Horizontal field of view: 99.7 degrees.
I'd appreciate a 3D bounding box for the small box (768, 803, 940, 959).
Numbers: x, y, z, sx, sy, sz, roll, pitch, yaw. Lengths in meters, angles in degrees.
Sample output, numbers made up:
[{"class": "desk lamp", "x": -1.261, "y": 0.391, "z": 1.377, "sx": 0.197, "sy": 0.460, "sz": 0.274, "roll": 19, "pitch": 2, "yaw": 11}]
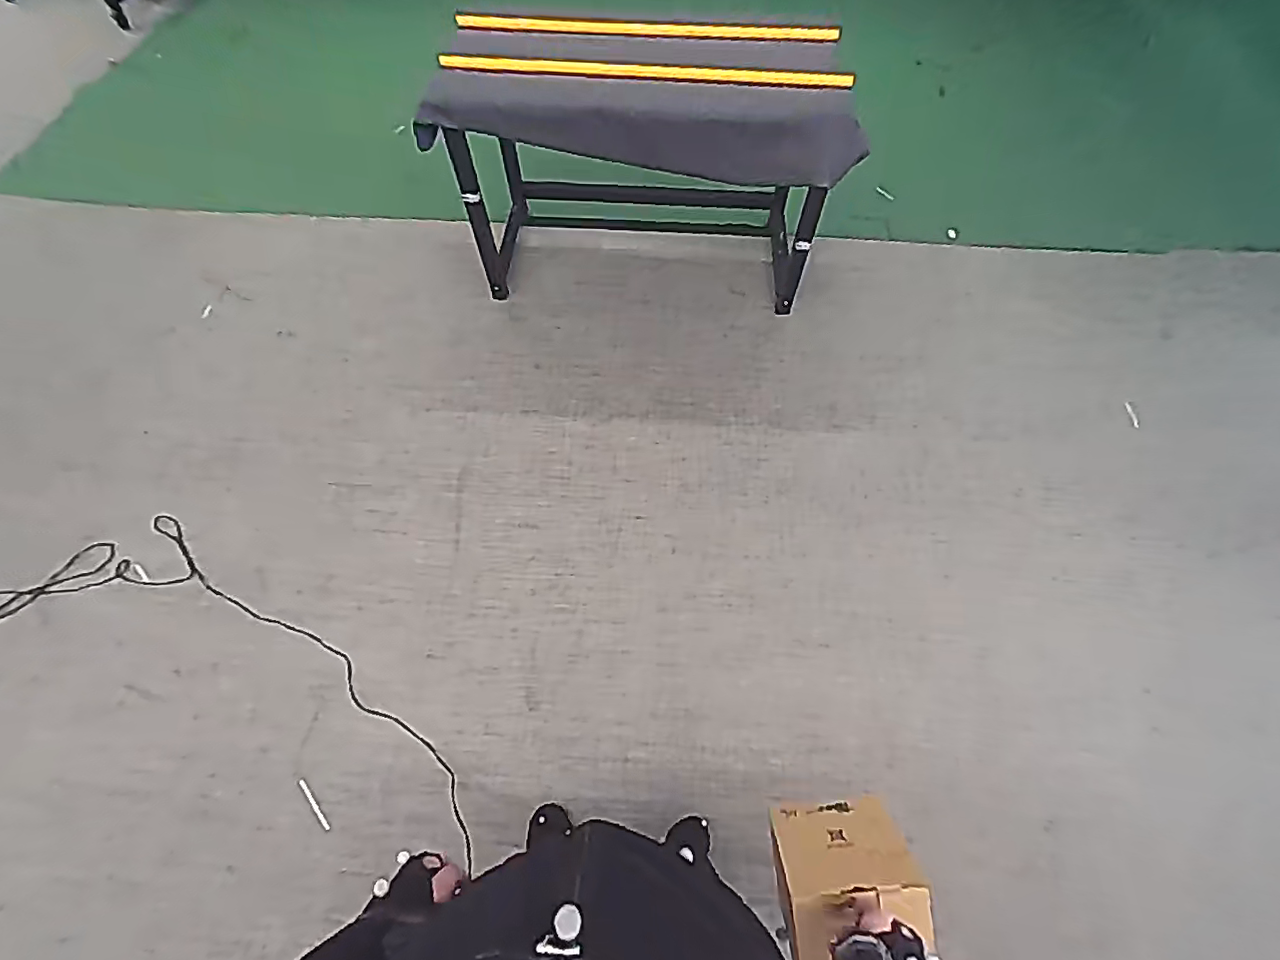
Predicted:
[{"class": "small box", "x": 0.287, "y": 0.586, "z": 0.734, "sx": 0.168, "sy": 0.179, "sz": 0.176, "roll": -11, "pitch": 91, "yaw": 2}]
